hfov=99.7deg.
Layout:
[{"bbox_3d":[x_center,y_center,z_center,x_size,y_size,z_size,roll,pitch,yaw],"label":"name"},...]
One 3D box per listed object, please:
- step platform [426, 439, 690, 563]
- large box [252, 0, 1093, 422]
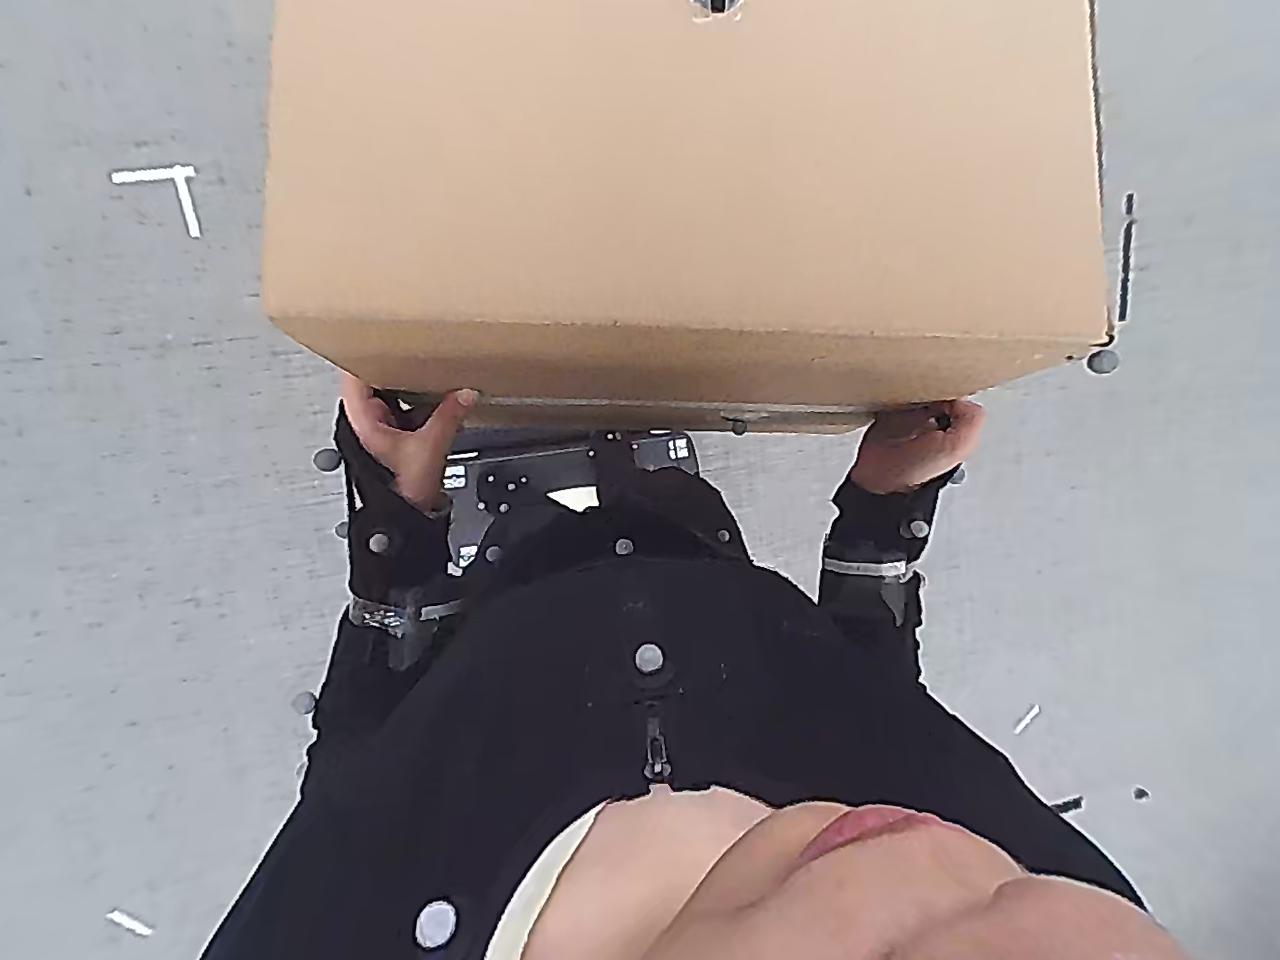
[{"bbox_3d":[-0.209,0.047,1.455,0.684,0.204,0.286,-3,99,-9],"label":"step platform"},{"bbox_3d":[0.011,-0.220,0.407,0.408,0.320,0.320,-1,89,-4],"label":"large box"}]
